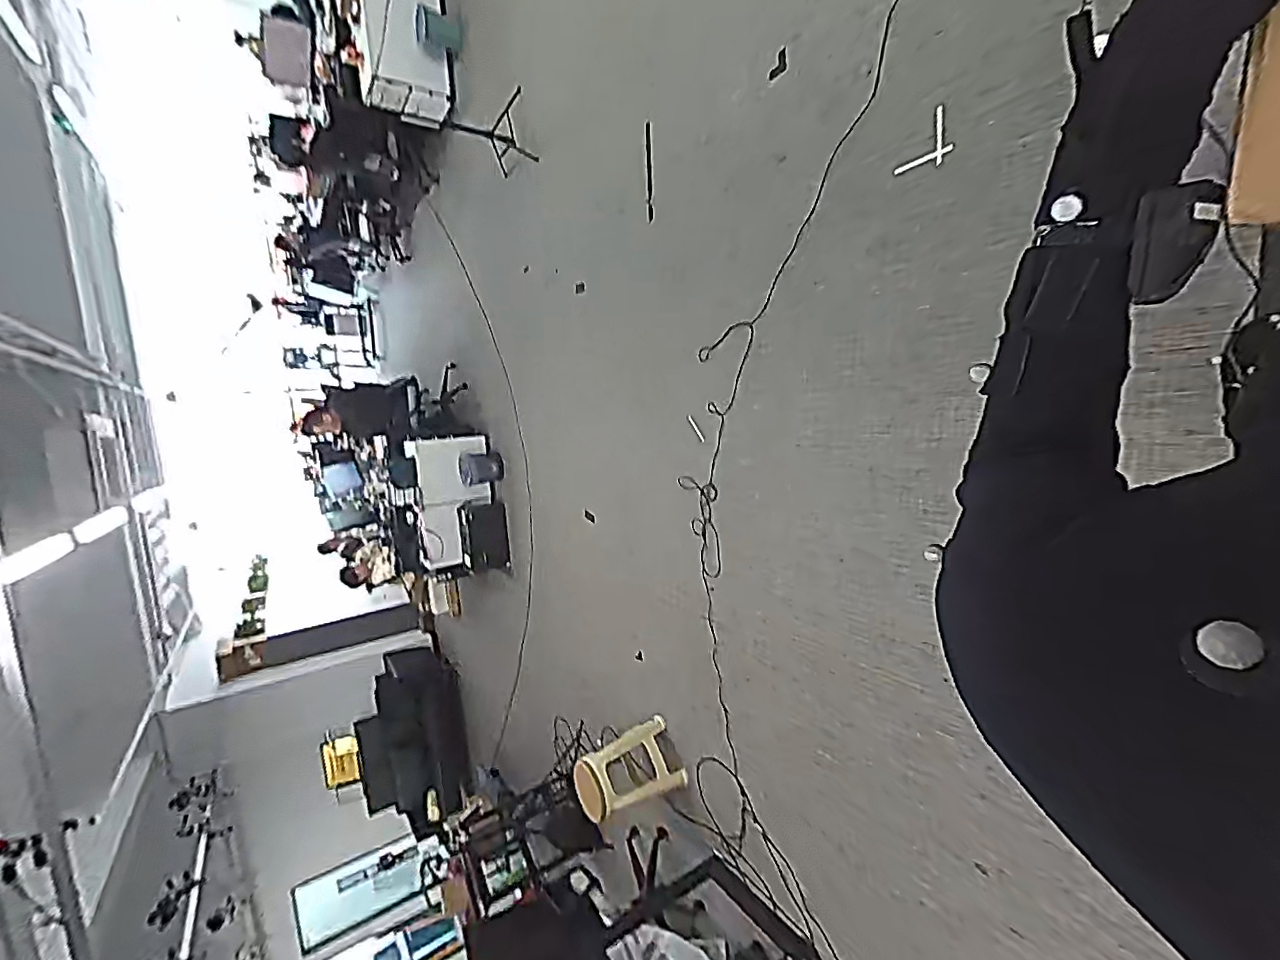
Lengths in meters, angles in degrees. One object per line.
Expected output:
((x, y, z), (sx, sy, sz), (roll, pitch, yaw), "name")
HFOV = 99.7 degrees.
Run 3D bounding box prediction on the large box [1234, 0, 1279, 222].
((0.553, -0.312, 0.204), (0.408, 0.320, 0.320), (11, 115, 51), "large box")
